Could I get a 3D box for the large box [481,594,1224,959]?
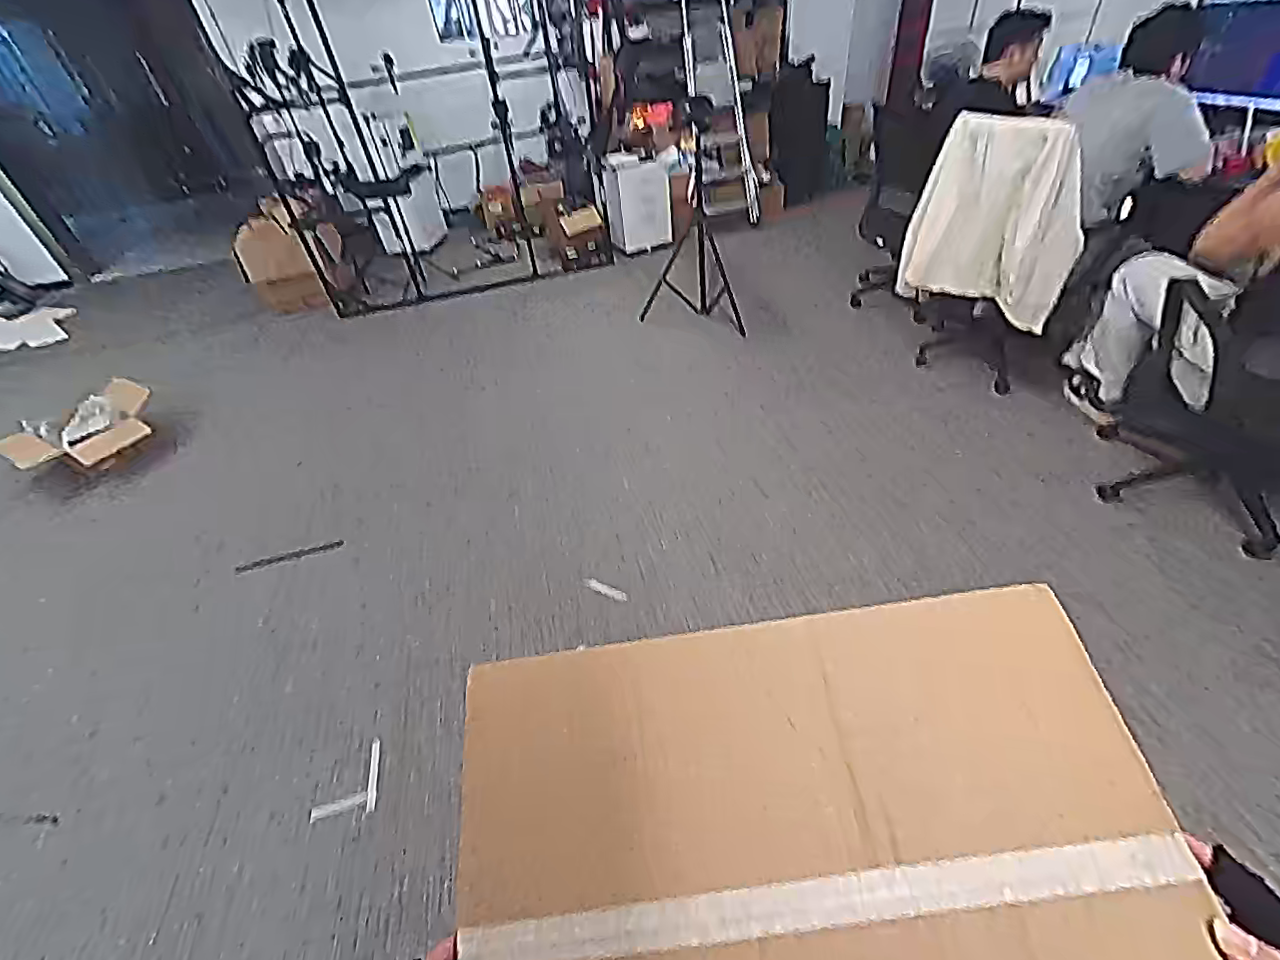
[{"bbox_3d":[0.117,0.317,0.437,0.408,0.320,0.320,-9,61,2],"label":"large box"}]
